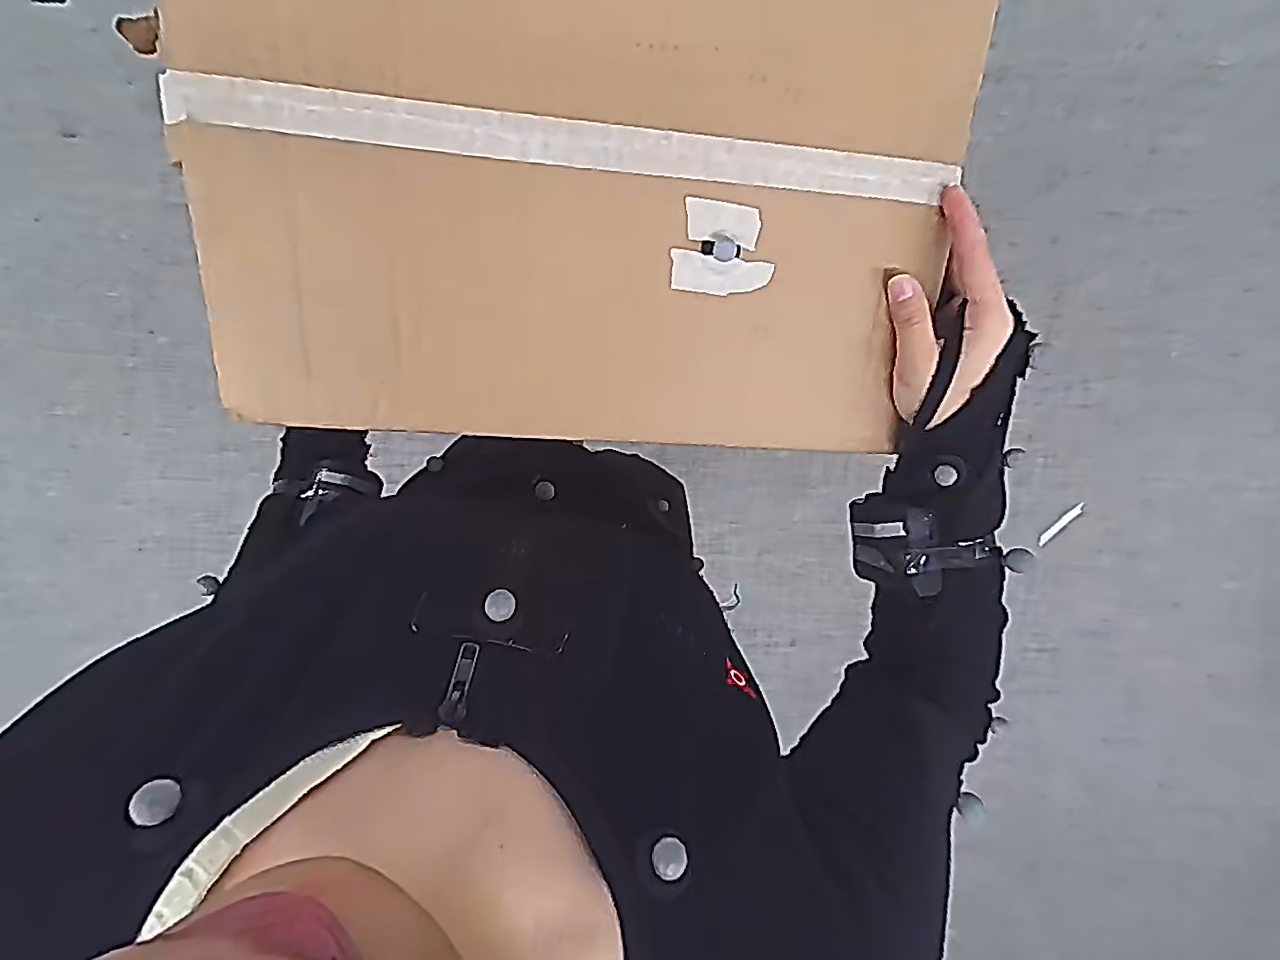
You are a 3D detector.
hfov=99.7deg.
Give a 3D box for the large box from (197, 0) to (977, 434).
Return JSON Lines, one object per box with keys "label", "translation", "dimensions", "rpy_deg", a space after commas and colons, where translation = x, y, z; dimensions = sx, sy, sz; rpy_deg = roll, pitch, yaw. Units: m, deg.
{"label": "large box", "translation": [-0.038, -0.221, 0.436], "dimensions": [0.408, 0.320, 0.320], "rpy_deg": [1, 107, -9]}
